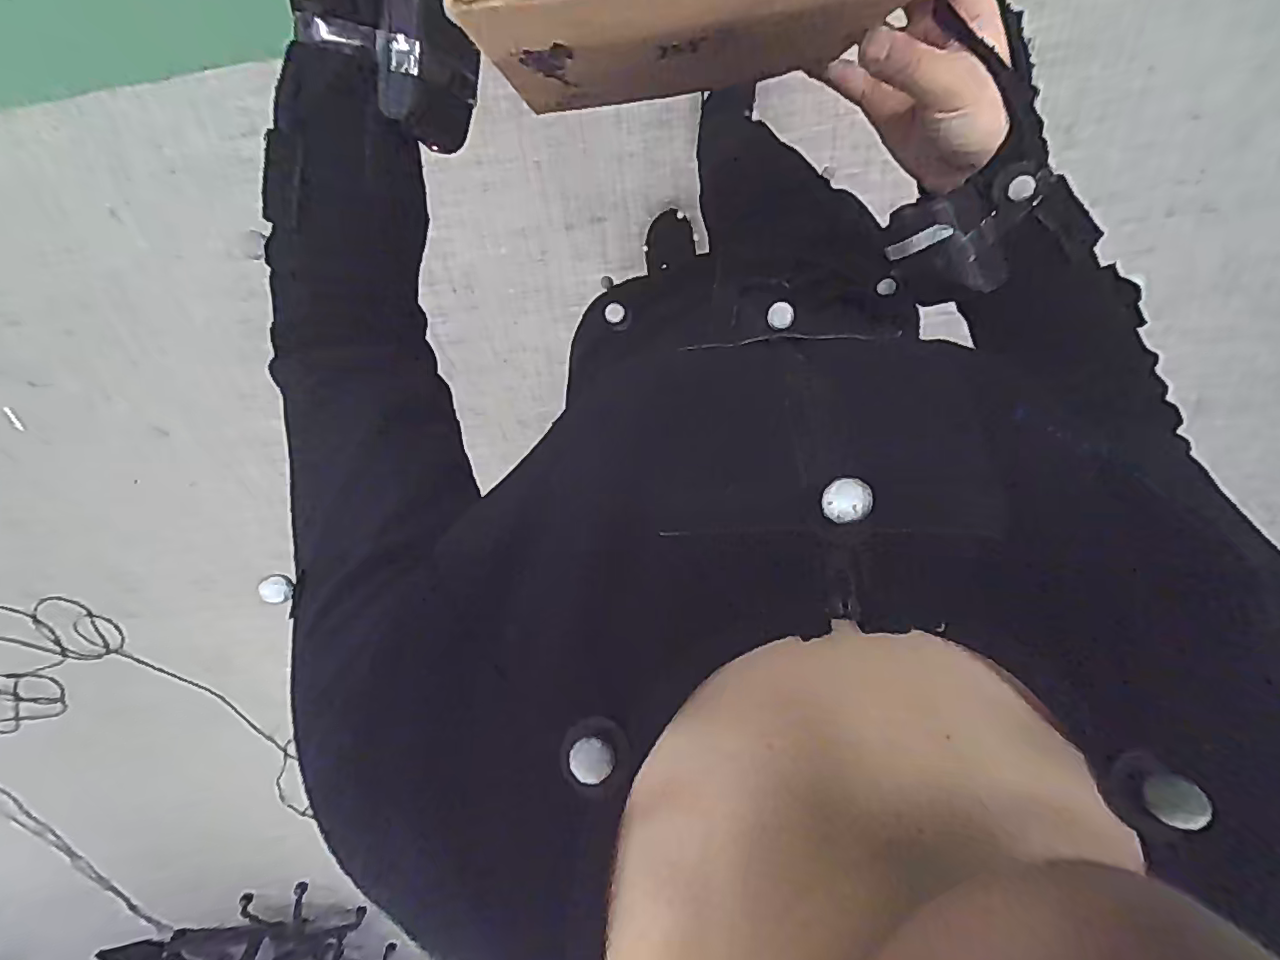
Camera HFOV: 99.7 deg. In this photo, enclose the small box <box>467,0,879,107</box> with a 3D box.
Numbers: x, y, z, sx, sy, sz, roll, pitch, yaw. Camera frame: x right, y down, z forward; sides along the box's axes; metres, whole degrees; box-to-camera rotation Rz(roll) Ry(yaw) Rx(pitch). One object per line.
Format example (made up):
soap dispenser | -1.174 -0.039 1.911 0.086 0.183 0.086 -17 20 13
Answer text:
small box | 0.013 -0.274 0.210 0.179 0.168 0.176 -8 113 3
